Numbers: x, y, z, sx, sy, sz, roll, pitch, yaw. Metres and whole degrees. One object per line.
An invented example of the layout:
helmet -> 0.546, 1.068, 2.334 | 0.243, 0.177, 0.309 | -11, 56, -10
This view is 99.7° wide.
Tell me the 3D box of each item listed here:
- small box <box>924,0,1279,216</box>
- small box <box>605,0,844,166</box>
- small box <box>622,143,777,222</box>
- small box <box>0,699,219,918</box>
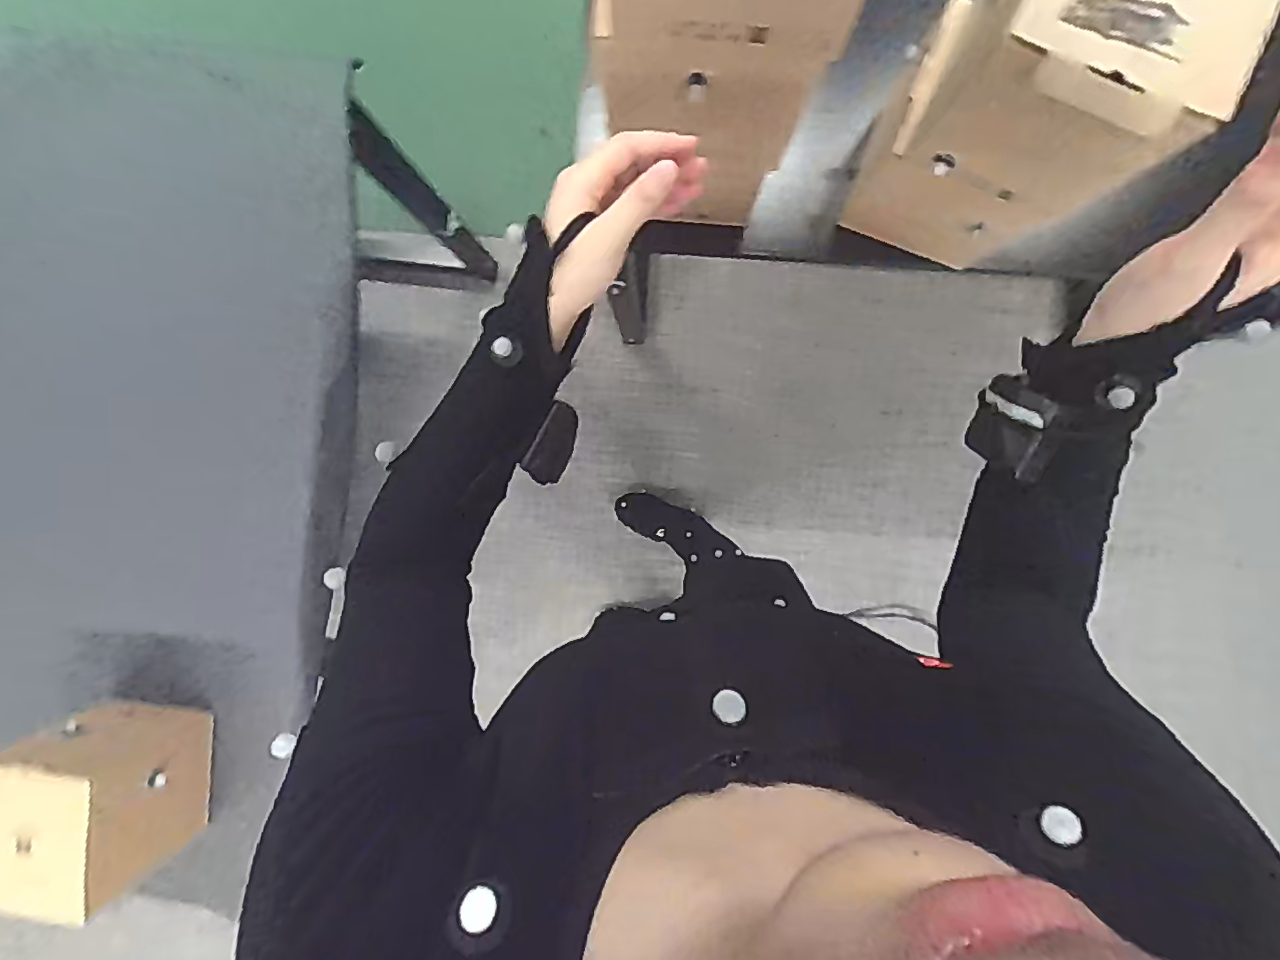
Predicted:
small box -> 0.375, -0.359, 0.453 | 0.168, 0.176, 0.179 | 23, 93, 1
small box -> 0.071, -0.398, 0.467 | 0.179, 0.176, 0.168 | 6, 94, 3
small box -> 0.074, -0.423, 0.628 | 0.168, 0.176, 0.179 | 5, 93, 1
small box -> -0.695, 0.410, 0.707 | 0.168, 0.176, 0.179 | 5, 93, 5
